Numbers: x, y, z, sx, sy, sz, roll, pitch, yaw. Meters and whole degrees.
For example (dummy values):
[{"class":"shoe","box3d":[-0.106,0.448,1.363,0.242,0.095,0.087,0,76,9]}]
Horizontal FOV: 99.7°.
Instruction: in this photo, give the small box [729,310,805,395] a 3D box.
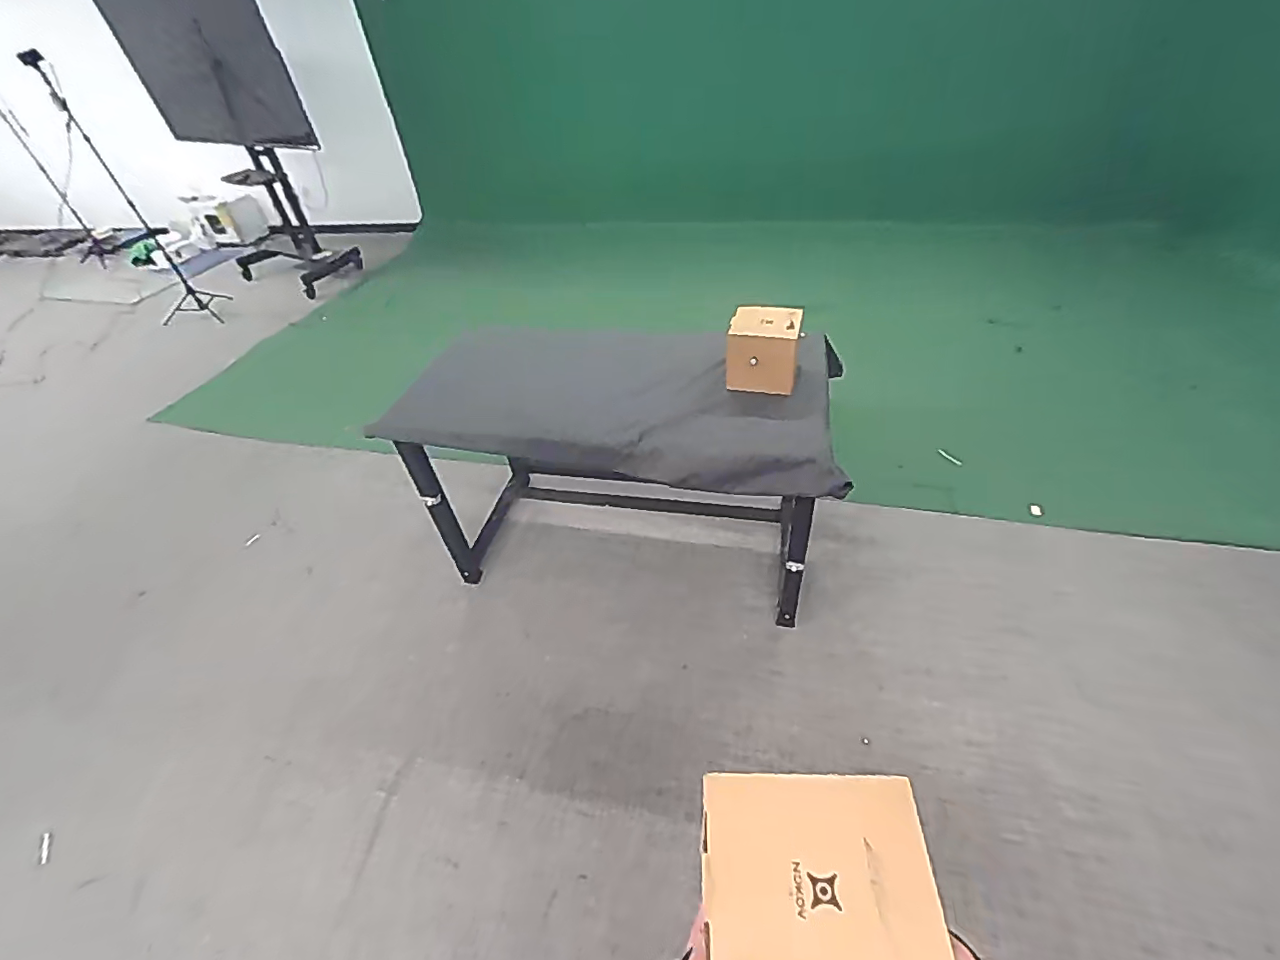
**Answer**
[{"class":"small box","box3d":[0.343,-0.345,1.463,0.179,0.176,0.168,8,45,17]}]

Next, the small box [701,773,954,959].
[{"class":"small box","box3d":[0.149,0.371,0.474,0.179,0.176,0.168,-4,47,7]}]
